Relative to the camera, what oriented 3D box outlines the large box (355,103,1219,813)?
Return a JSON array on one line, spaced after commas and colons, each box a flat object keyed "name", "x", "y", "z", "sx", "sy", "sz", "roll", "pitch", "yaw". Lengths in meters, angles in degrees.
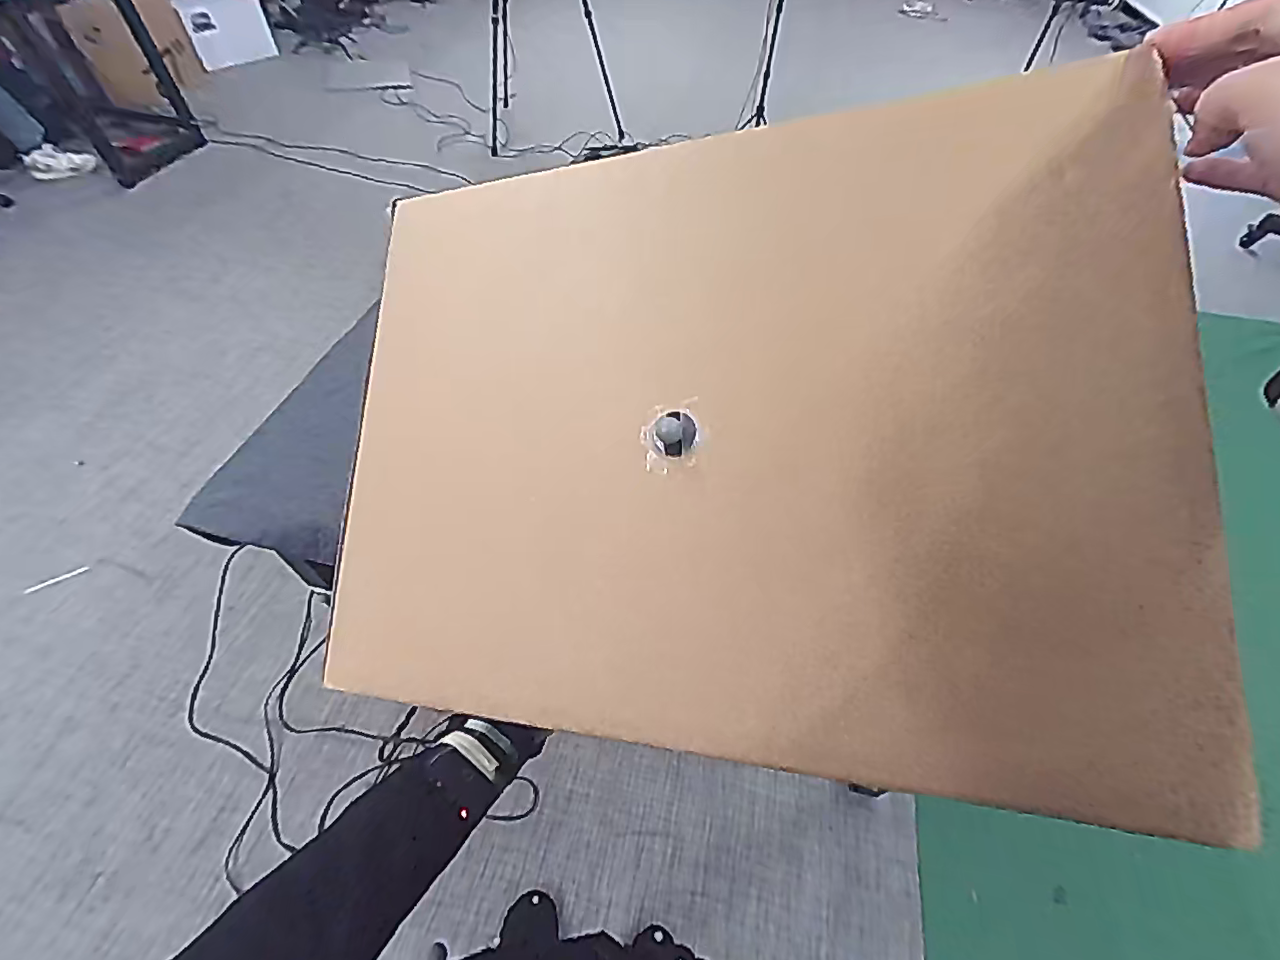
[{"name": "large box", "x": 0.071, "y": 0.006, "z": 0.414, "sx": 0.408, "sy": 0.320, "sz": 0.320, "roll": -1, "pitch": 79, "yaw": 18}]
